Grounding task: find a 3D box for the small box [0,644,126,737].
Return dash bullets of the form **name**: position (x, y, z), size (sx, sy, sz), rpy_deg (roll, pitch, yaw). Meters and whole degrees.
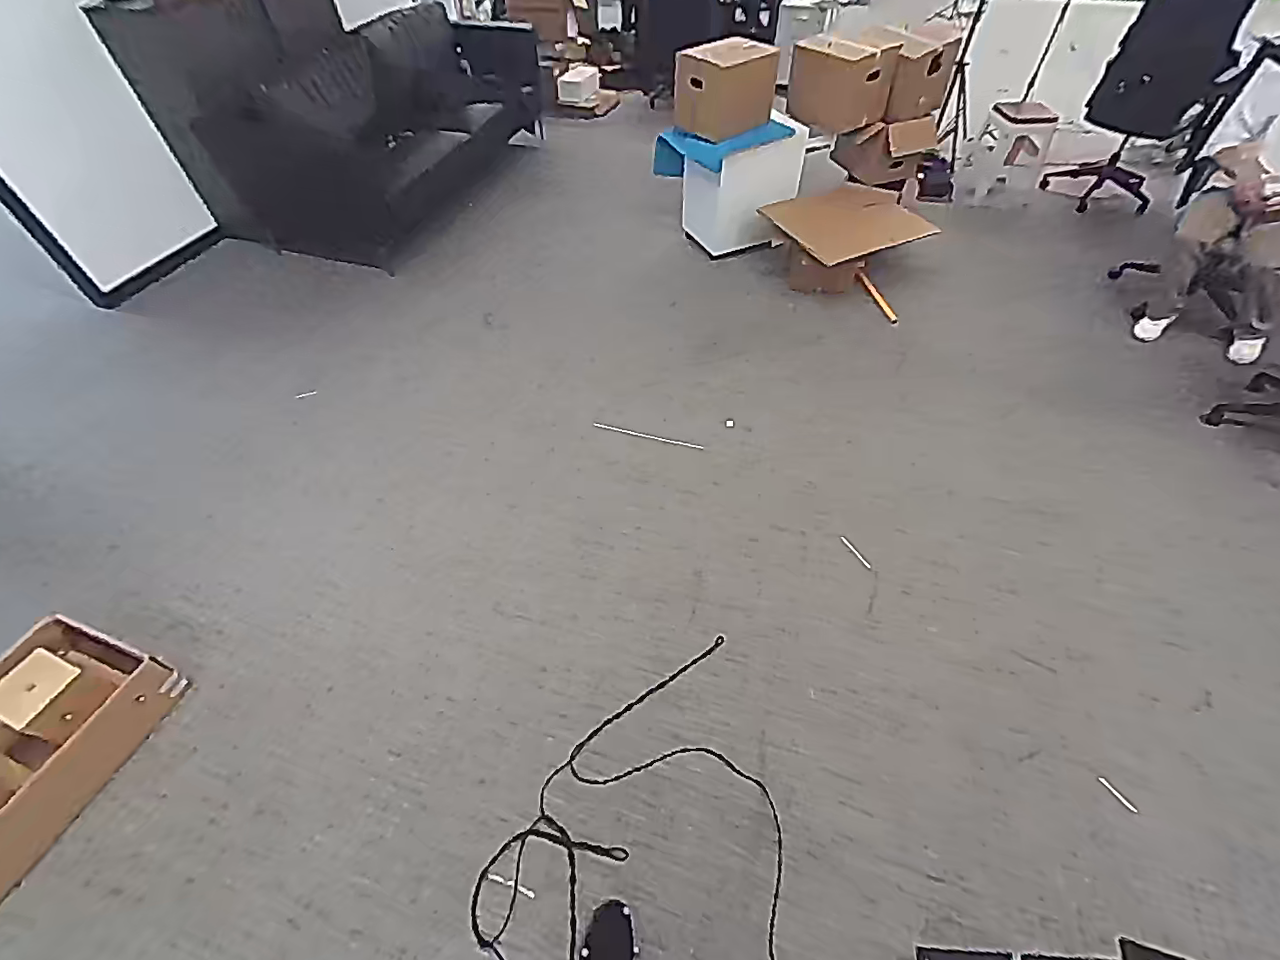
- **small box**: position (-1.590, 0.583, 1.481), size (0.179, 0.176, 0.168), rpy_deg (16, 53, 14)
